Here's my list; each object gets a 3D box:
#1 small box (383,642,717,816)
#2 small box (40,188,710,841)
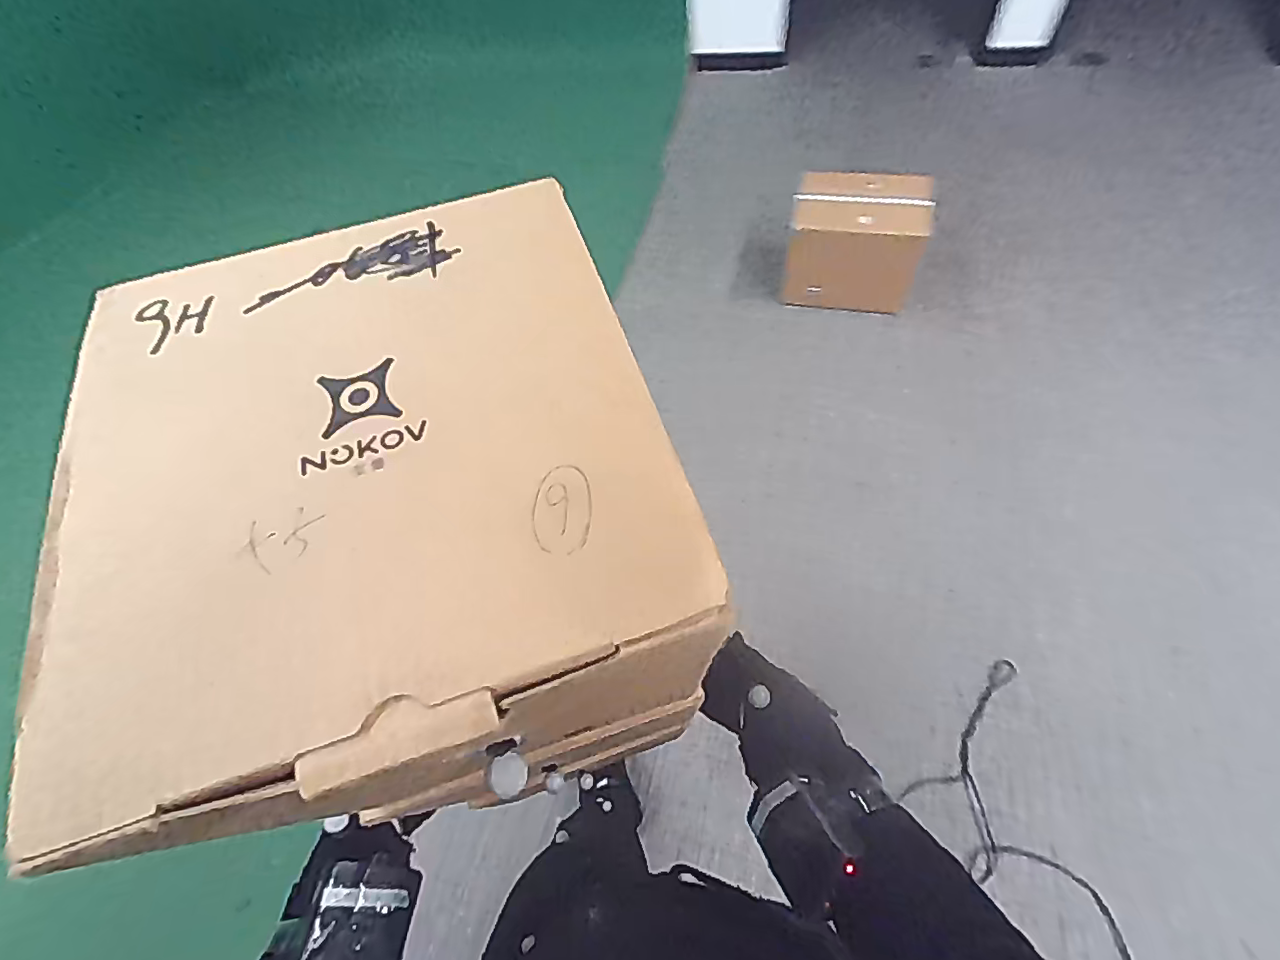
[{"bbox_3d":[-0.066,0.103,0.376,0.179,0.176,0.168,-19,64,-8],"label":"small box"},{"bbox_3d":[-0.077,0.020,0.235,0.168,0.176,0.179,-16,64,-5],"label":"small box"}]
